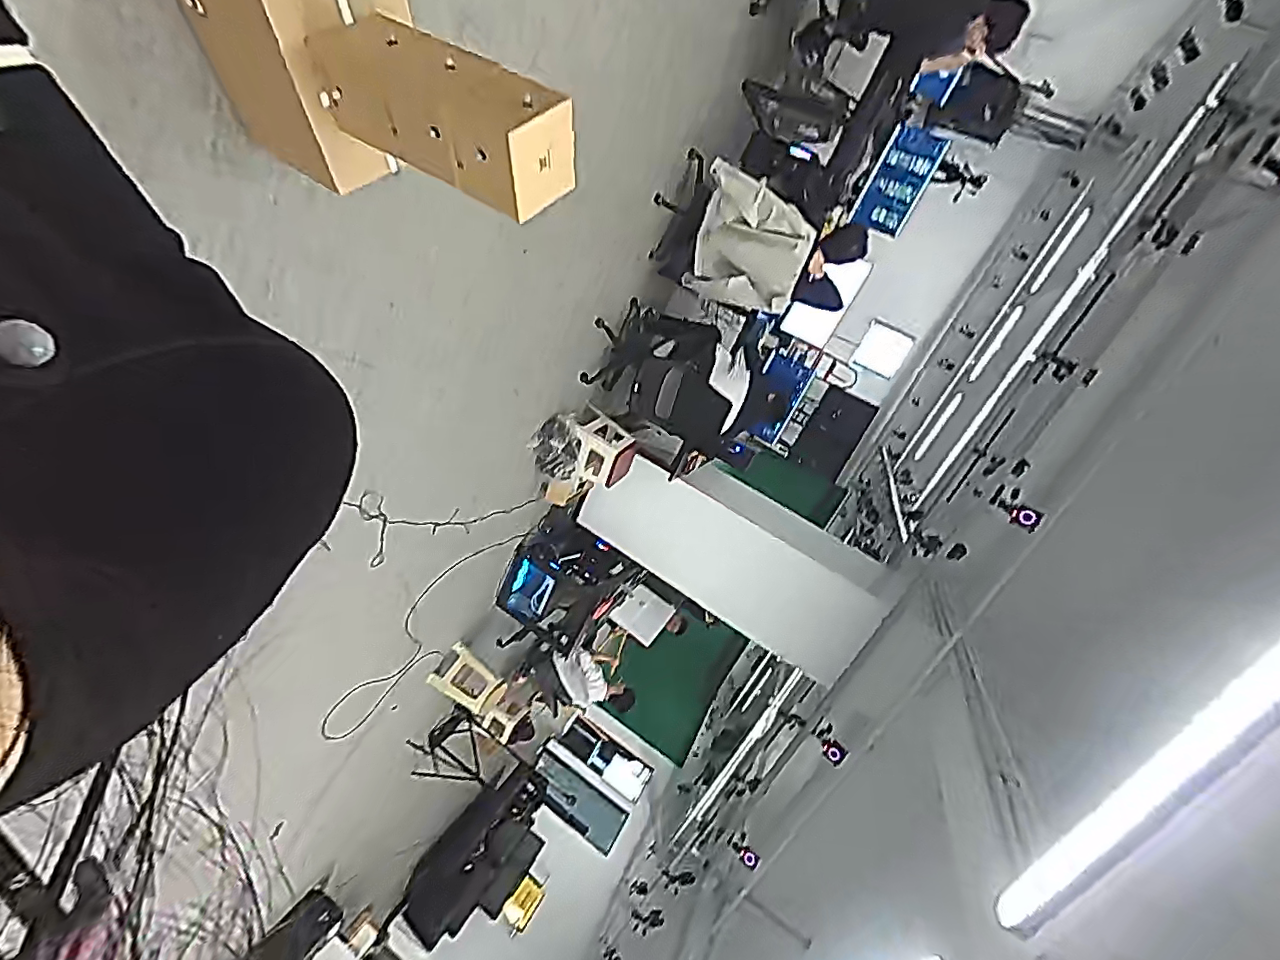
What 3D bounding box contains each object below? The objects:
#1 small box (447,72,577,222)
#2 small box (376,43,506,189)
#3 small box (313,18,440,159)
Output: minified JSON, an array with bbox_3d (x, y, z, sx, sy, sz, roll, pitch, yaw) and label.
[{"bbox_3d":[-0.240,-0.630,1.022,0.179,0.176,0.168,-51,164,-27],"label":"small box"},{"bbox_3d":[-0.373,-0.717,1.060,0.179,0.176,0.168,-51,164,-28],"label":"small box"},{"bbox_3d":[-0.511,-0.798,1.098,0.179,0.176,0.168,-50,164,-27],"label":"small box"}]
